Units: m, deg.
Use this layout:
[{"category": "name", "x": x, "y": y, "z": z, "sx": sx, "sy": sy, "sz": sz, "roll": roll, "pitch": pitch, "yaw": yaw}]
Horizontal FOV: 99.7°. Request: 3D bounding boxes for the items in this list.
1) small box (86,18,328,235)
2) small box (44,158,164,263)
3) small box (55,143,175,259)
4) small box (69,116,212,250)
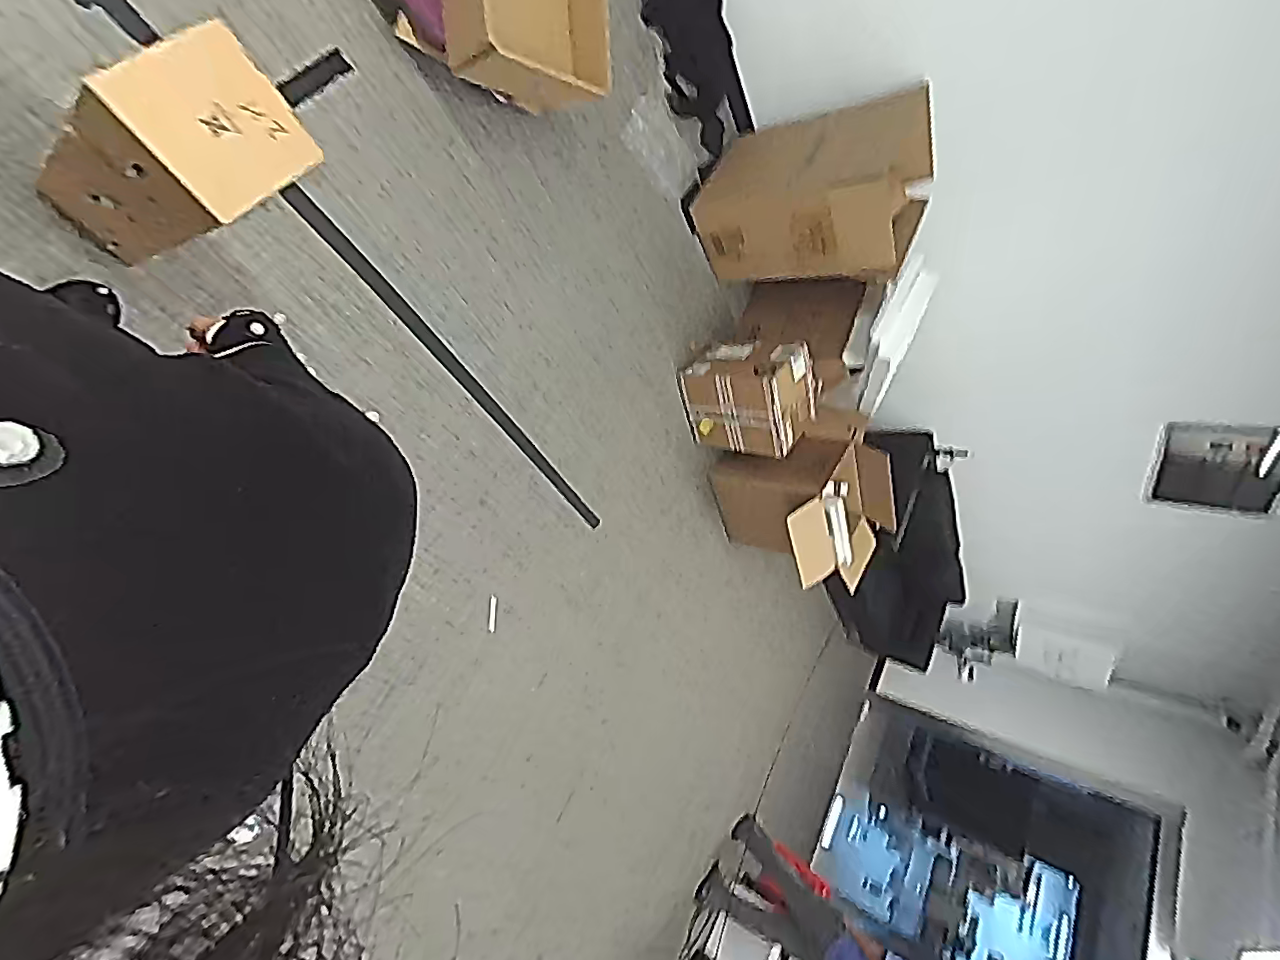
[{"category": "small box", "x": -0.566, "y": -0.448, "z": 0.710, "sx": 0.179, "sy": 0.176, "sz": 0.168, "roll": -57, "pitch": 137, "yaw": -25}, {"category": "small box", "x": -0.946, "y": -0.528, "z": 1.014, "sx": 0.168, "sy": 0.176, "sz": 0.179, "roll": -59, "pitch": 136, "yaw": -23}, {"category": "small box", "x": -0.822, "y": -0.501, "z": 0.911, "sx": 0.179, "sy": 0.176, "sz": 0.168, "roll": -61, "pitch": 137, "yaw": -22}, {"category": "small box", "x": -0.694, "y": -0.474, "z": 0.810, "sx": 0.179, "sy": 0.176, "sz": 0.168, "roll": -60, "pitch": 137, "yaw": -21}]
